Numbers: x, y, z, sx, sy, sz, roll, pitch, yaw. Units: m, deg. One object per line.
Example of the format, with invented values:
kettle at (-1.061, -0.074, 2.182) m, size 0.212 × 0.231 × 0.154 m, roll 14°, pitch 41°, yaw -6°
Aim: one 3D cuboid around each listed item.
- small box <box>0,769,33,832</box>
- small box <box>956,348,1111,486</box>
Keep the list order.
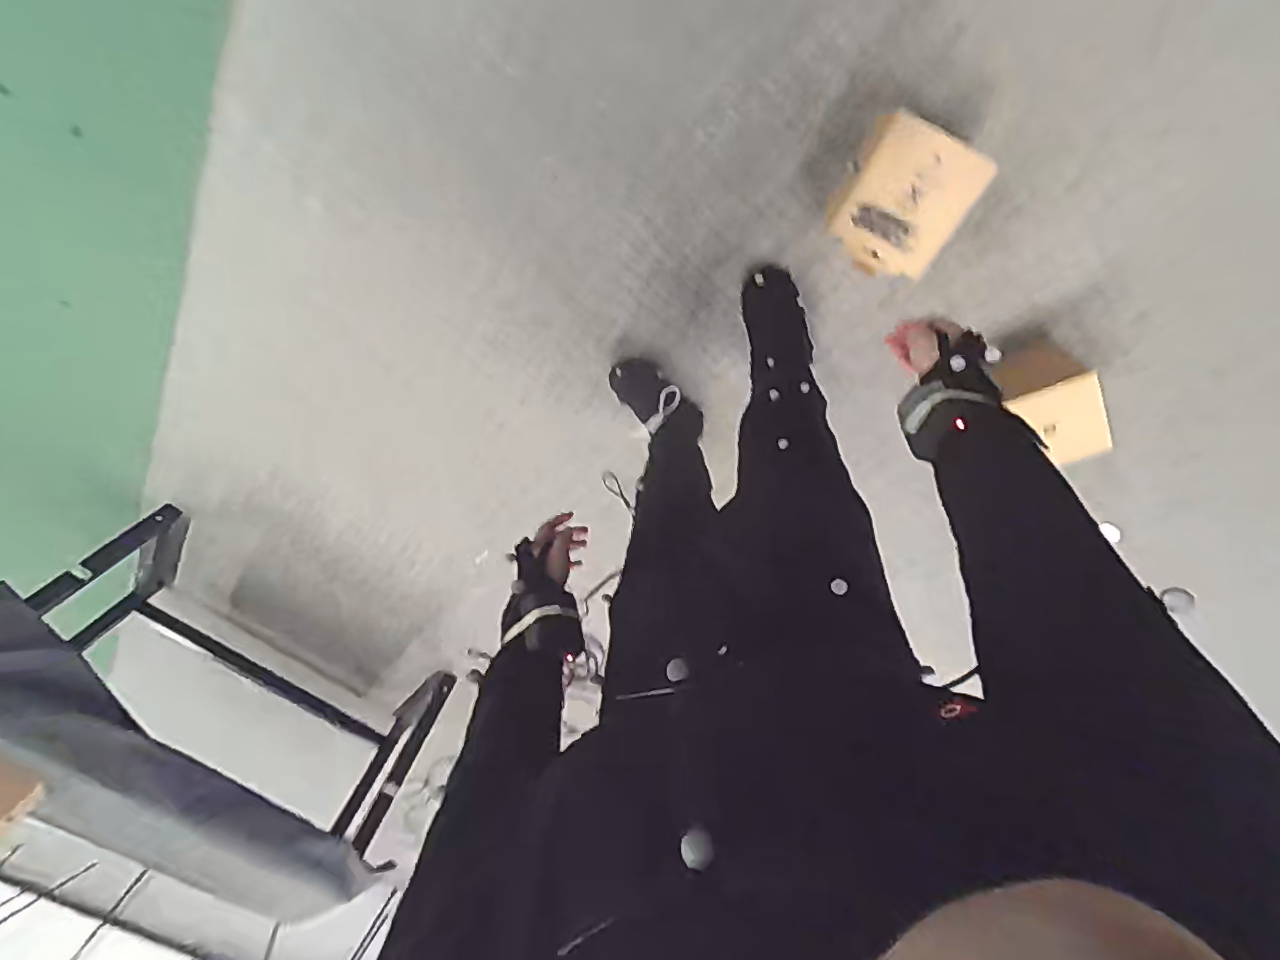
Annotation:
small box at (-1.701, 0.832, 1.363) m, size 0.168 × 0.176 × 0.179 m, roll 38°, pitch 125°, yaw -12°
small box at (0.734, -0.123, 1.023) m, size 0.179 × 0.176 × 0.168 m, roll -22°, pitch 116°, yaw 26°
